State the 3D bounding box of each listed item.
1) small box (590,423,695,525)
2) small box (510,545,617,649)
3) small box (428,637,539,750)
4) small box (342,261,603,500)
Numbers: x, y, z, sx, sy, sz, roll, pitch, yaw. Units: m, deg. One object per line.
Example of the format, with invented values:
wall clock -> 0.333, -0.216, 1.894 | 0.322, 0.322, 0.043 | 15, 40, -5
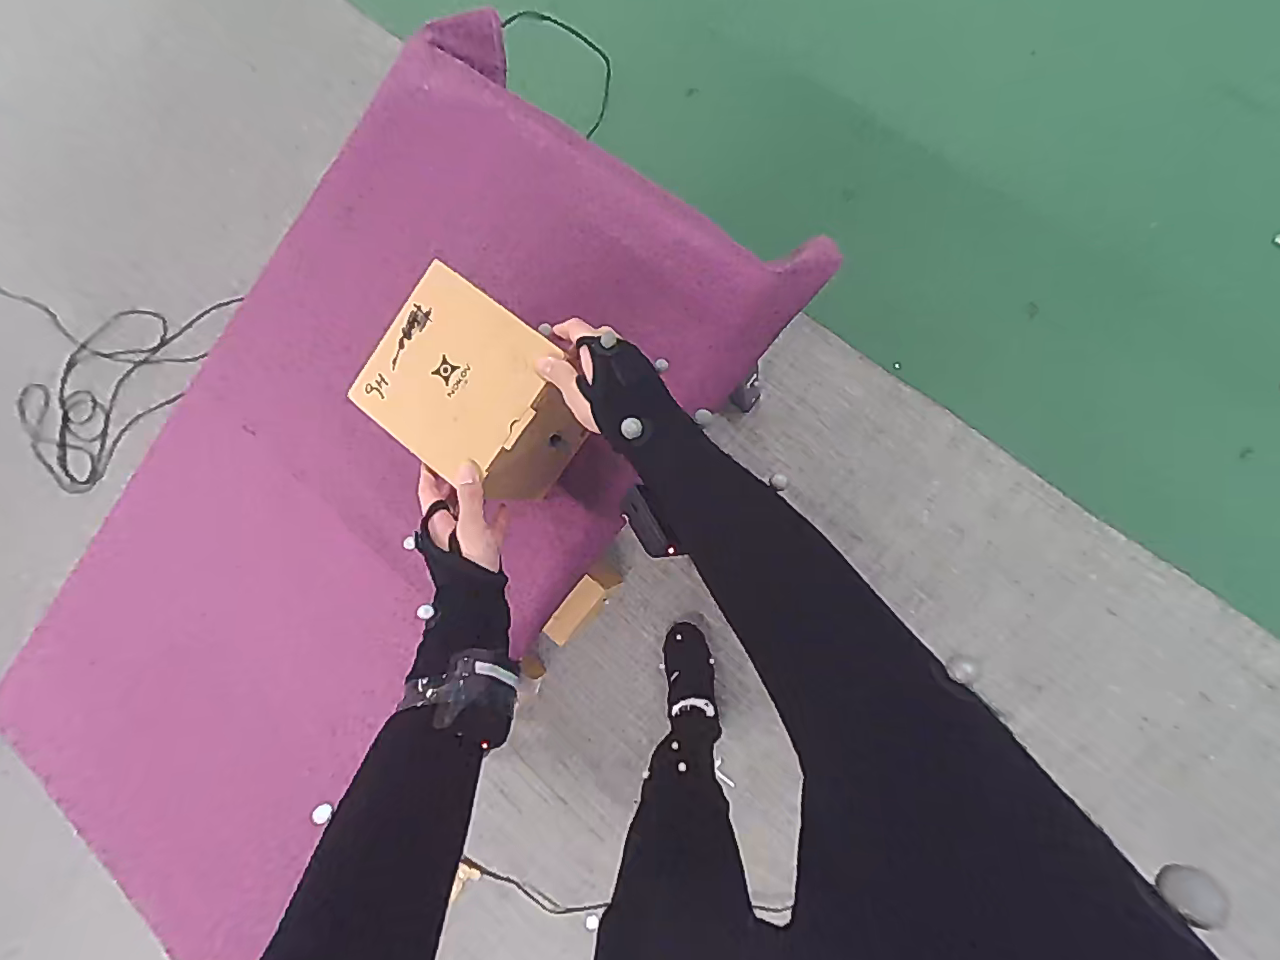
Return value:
small box -> 0.015, -0.009, 1.288 | 0.168, 0.176, 0.179 | 36, 95, 12
small box -> -0.175, 0.274, 1.318 | 0.168, 0.176, 0.179 | 39, 97, 13
small box -> -0.382, 0.523, 1.353 | 0.168, 0.176, 0.179 | 38, 95, 12
small box -> -0.166, -0.095, 0.590 | 0.179, 0.176, 0.168 | 38, 96, 12
